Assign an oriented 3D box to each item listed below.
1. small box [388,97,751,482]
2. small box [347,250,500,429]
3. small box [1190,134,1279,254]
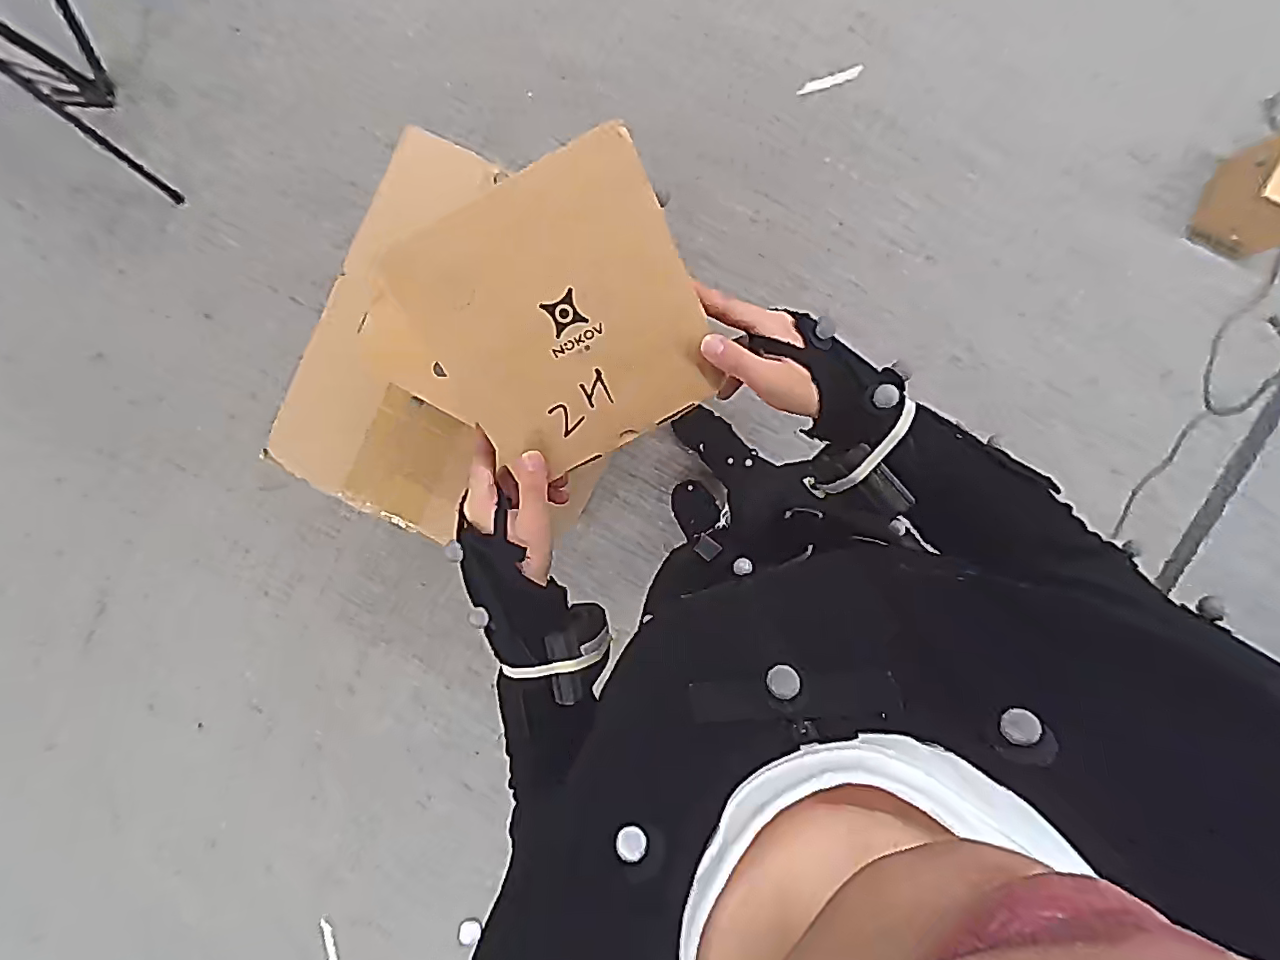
[{"bbox_3d":[-0.046,-0.131,0.399,0.168,0.176,0.179,-26,114,2],"label":"small box"},{"bbox_3d":[-0.207,-0.173,0.669,0.179,0.176,0.168,28,94,2],"label":"small box"},{"bbox_3d":[1.405,-0.642,1.201,0.168,0.176,0.179,27,94,1],"label":"small box"}]
